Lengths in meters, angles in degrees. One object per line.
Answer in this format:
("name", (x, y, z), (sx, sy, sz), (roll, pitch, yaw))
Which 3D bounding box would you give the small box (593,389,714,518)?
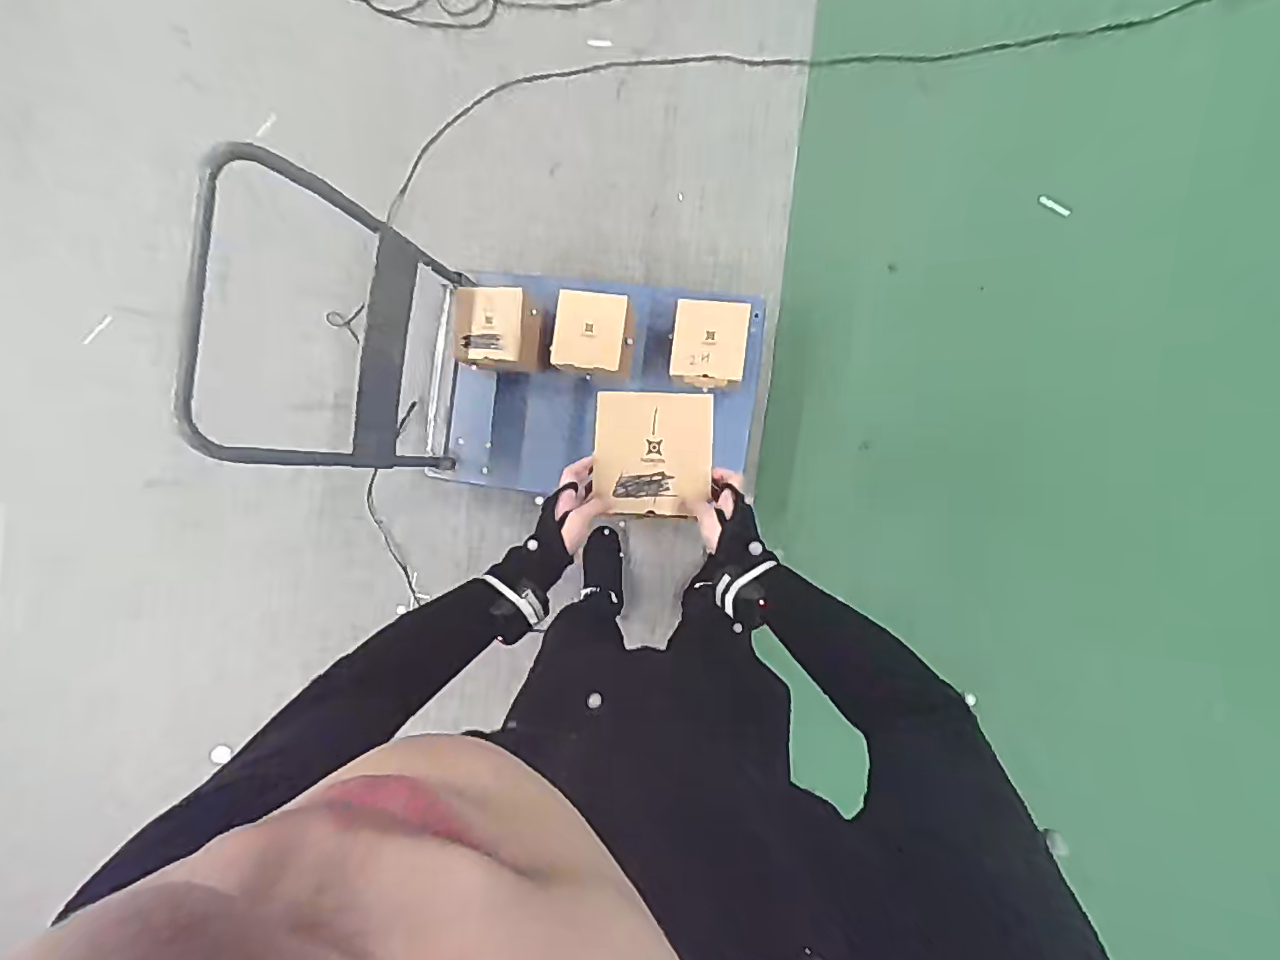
("small box", (0.023, -0.033, 0.839), (0.168, 0.176, 0.179), (3, 84, 2))

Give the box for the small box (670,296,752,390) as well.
("small box", (0.169, -0.324, 1.299), (0.168, 0.176, 0.179), (8, 92, 8))

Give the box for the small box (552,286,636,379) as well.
("small box", (-0.106, -0.358, 1.337), (0.168, 0.176, 0.179), (8, 93, 7))
